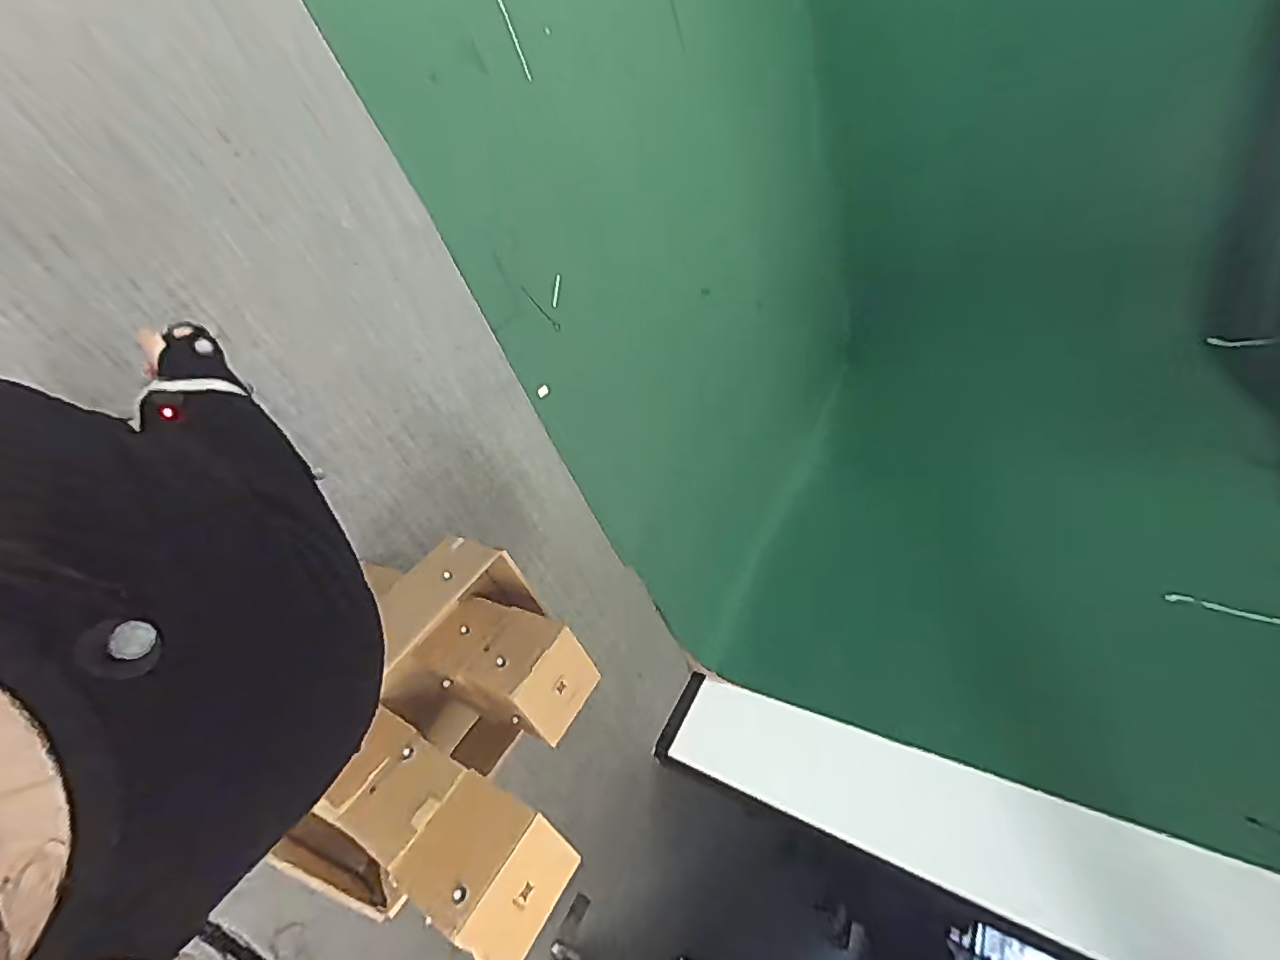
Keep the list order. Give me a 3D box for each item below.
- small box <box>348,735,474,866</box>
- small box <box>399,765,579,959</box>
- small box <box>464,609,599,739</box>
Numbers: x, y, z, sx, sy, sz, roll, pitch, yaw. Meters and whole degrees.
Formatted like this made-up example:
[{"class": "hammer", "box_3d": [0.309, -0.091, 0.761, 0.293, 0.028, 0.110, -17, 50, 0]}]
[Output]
[{"class": "small box", "box_3d": [-0.365, 0.577, 0.942, 0.168, 0.176, 0.179, -49, 131, -37]}, {"class": "small box", "box_3d": [-0.234, 0.589, 0.846, 0.179, 0.176, 0.168, -49, 130, -35]}, {"class": "small box", "box_3d": [-0.221, 0.384, 1.099, 0.168, 0.176, 0.179, -50, 132, -35]}]
